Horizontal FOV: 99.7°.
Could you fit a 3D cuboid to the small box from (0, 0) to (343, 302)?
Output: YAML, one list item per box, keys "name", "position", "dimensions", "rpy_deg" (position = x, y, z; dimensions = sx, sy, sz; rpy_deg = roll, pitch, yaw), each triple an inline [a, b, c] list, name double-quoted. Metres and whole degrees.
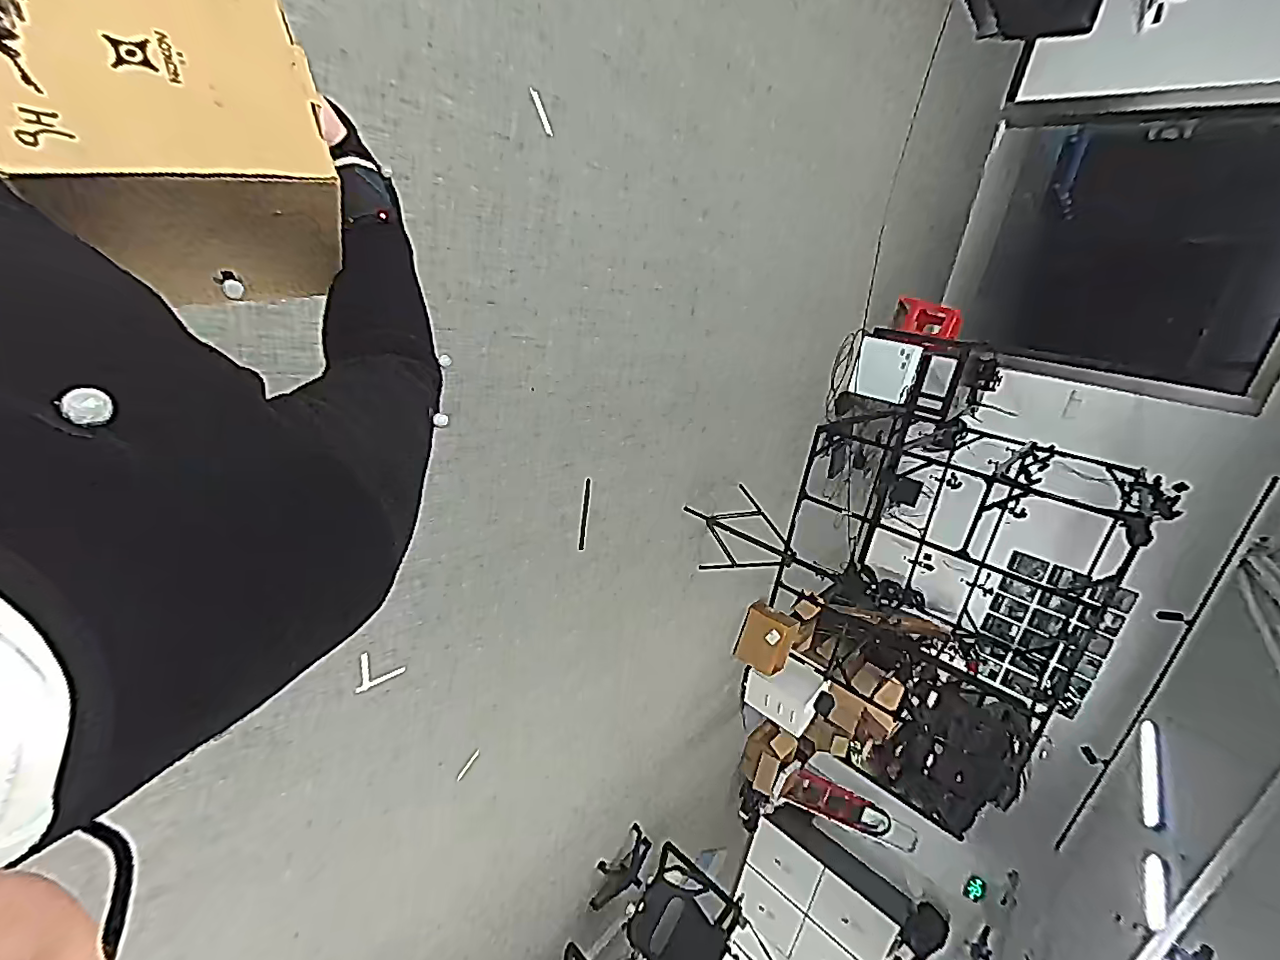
- name: "small box"
  position: [-0.355, -0.260, 0.430]
  dimensions: [0.179, 0.176, 0.168]
  rpy_deg: [-17, 87, -31]
